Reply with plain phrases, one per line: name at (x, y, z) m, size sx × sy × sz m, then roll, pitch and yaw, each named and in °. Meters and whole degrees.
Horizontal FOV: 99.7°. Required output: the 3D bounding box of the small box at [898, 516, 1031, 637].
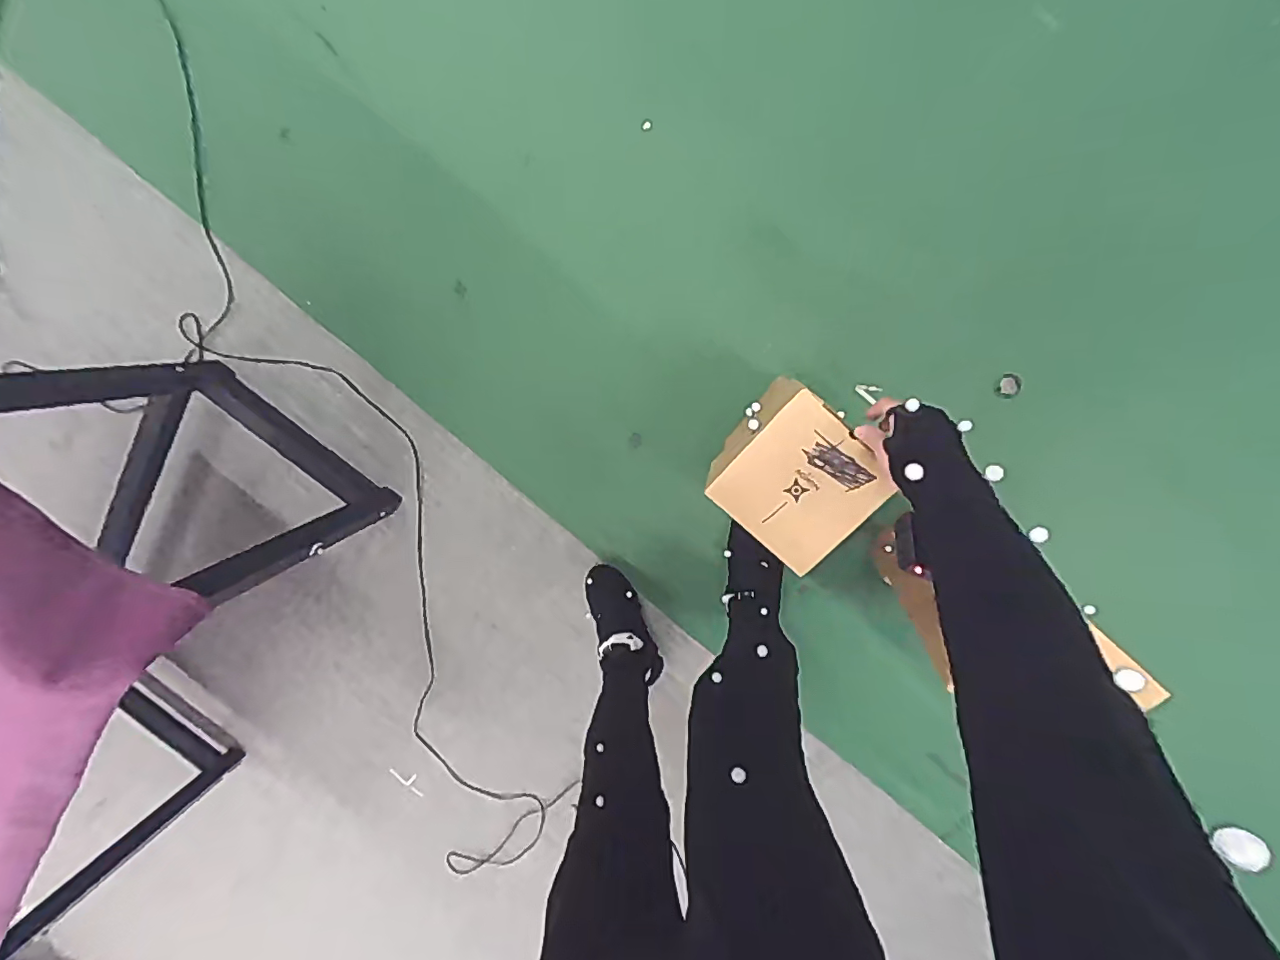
small box at (0.545, 0.191, 0.873) m, size 0.168 × 0.176 × 0.179 m, roll 41°, pitch 111°, yaw -2°

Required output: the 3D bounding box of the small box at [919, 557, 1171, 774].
small box at (0.510, 0.233, 0.717) m, size 0.168 × 0.176 × 0.179 m, roll 42°, pitch 110°, yaw -2°

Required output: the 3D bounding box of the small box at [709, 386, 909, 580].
small box at (0.210, -0.008, 0.718) m, size 0.168 × 0.176 × 0.179 m, roll 42°, pitch 108°, yaw -1°
